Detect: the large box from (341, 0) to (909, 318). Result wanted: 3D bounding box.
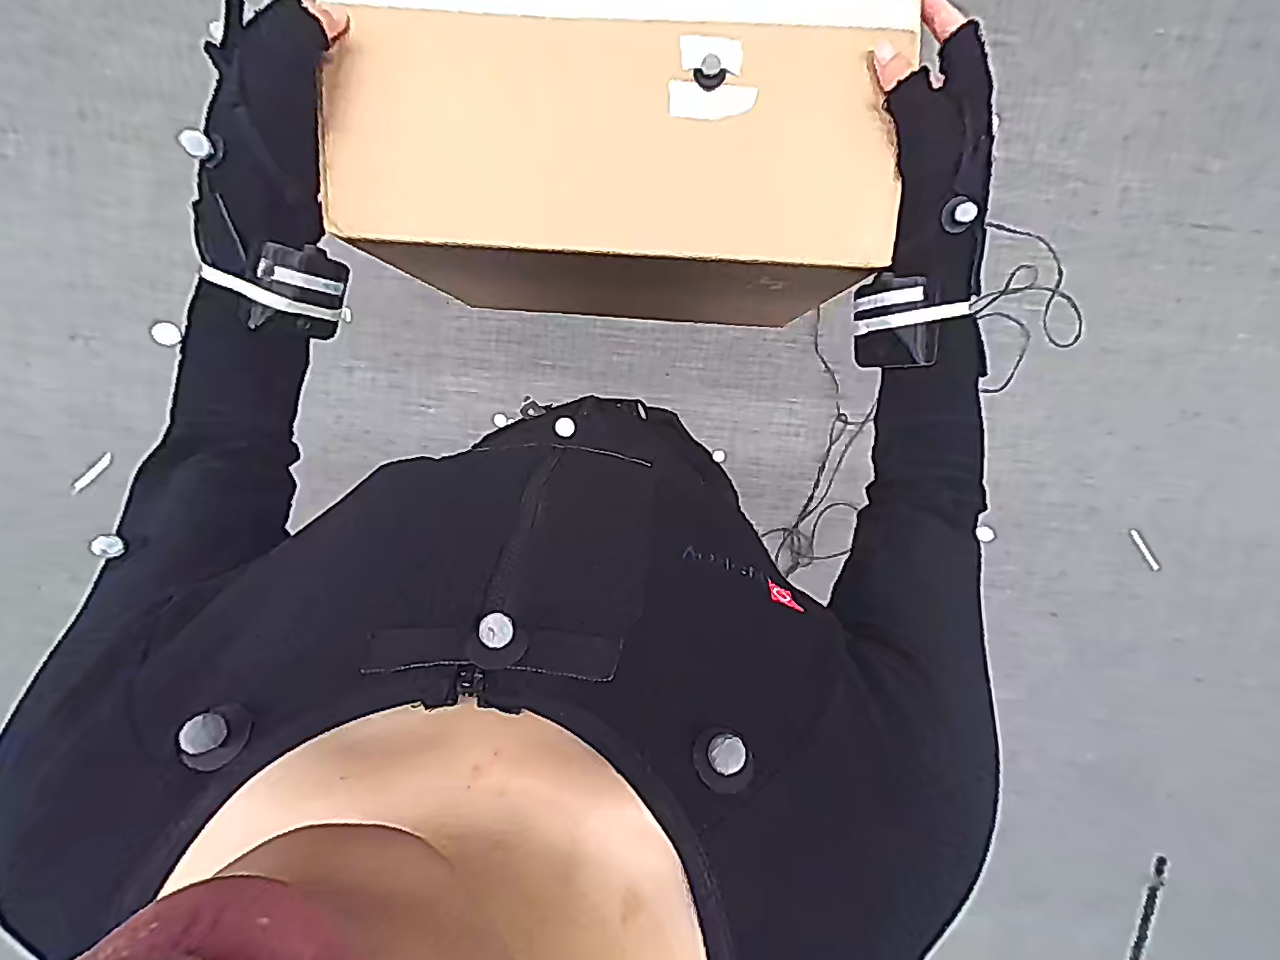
[{"bbox_3d":[-0.011,-0.346,0.526,0.408,0.320,0.320,3,98,0],"label":"large box"}]
